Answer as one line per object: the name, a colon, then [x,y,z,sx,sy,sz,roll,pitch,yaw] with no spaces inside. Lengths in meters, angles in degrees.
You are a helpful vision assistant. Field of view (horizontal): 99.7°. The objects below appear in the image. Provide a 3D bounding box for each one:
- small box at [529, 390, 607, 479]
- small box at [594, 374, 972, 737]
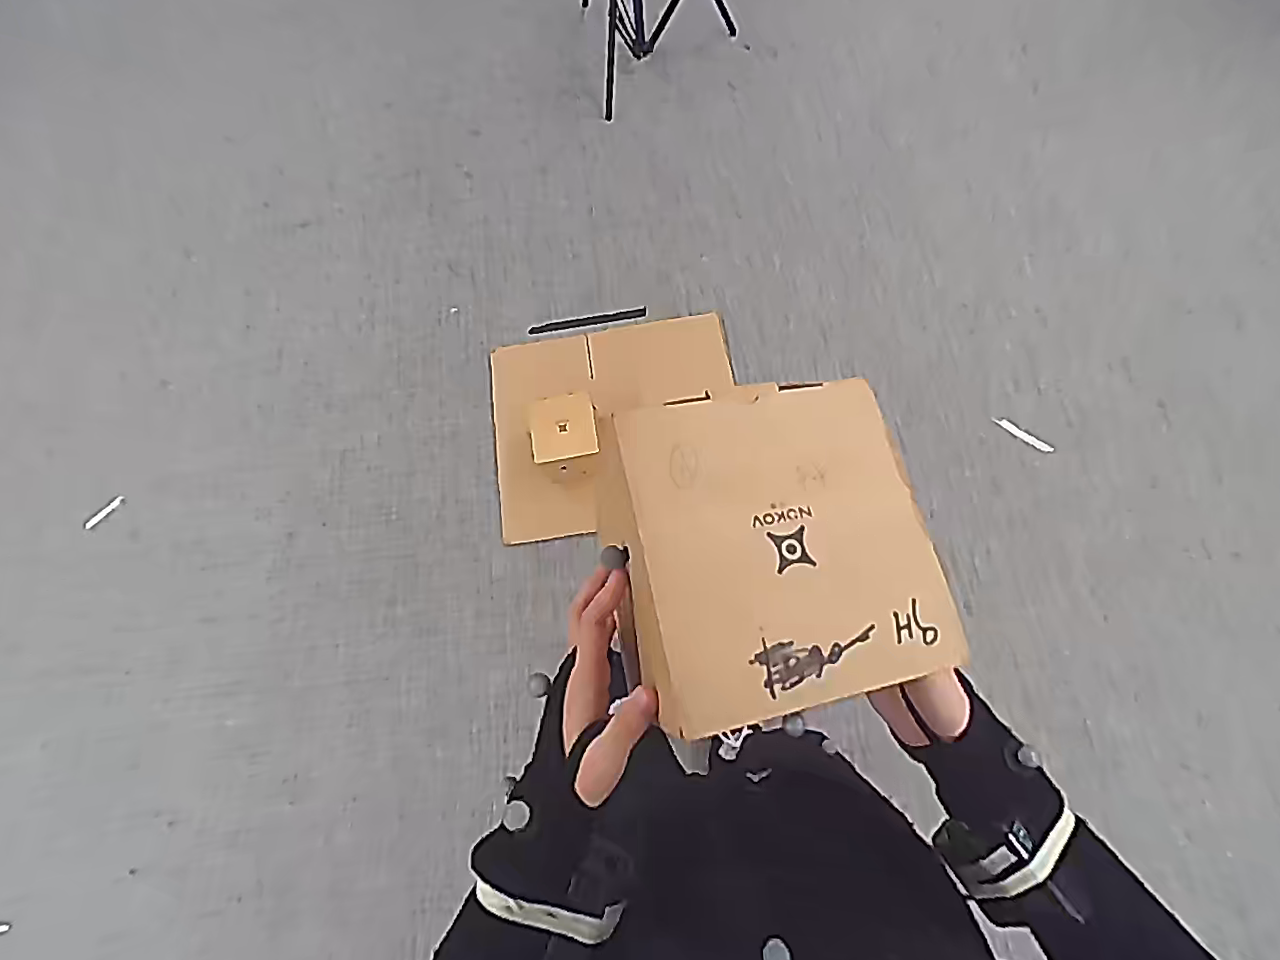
small box: [-0.186,-0.112,1.437,0.168,0.176,0.179,-11,72,1]
small box: [0.066,0.054,0.366,0.168,0.176,0.179,-10,74,-11]
